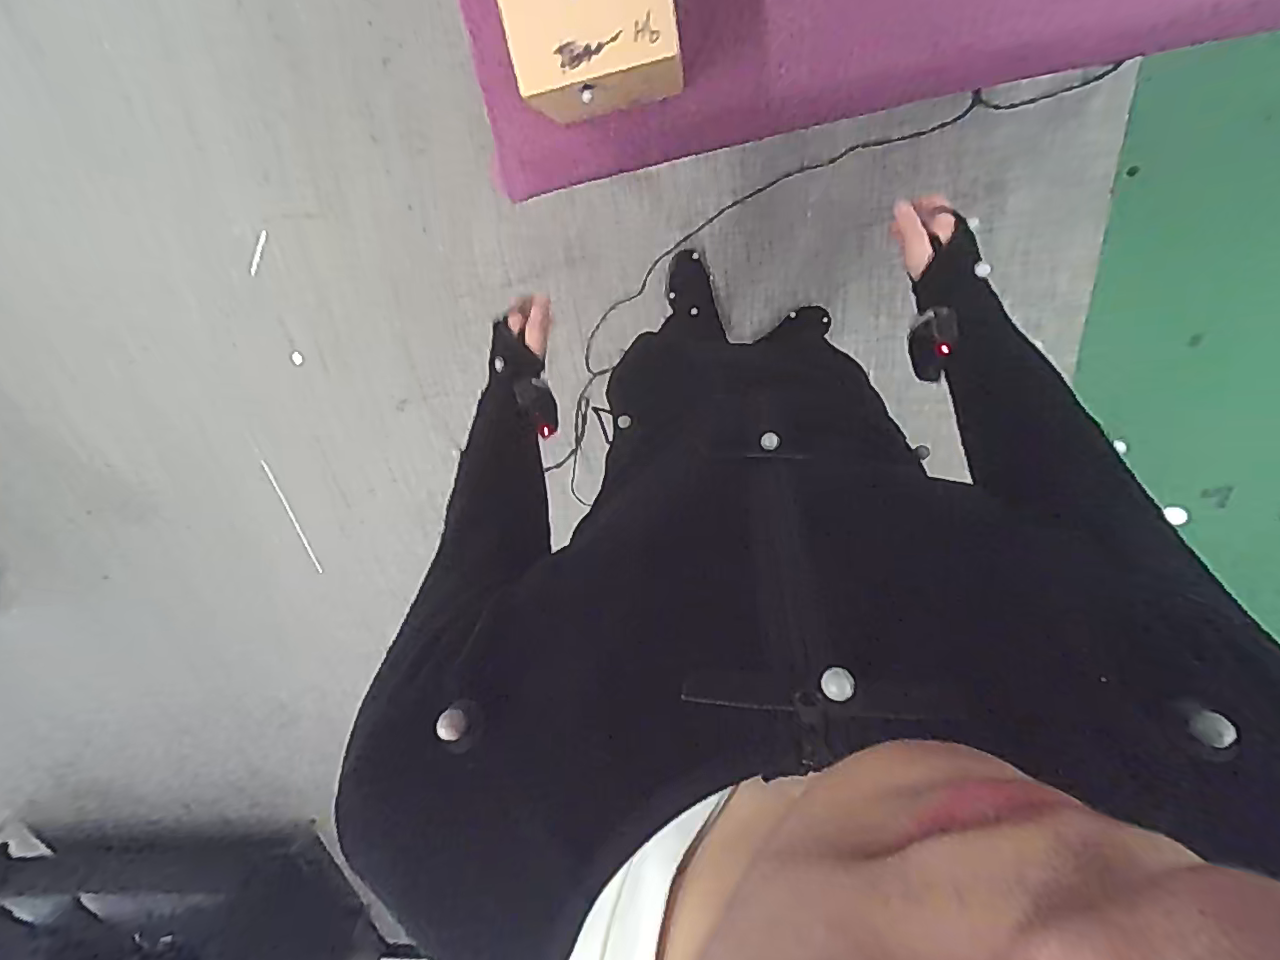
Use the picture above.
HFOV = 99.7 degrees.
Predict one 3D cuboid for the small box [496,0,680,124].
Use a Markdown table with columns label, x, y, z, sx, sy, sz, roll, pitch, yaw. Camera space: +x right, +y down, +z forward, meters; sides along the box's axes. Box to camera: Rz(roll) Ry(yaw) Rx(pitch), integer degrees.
| label | x | y | z | sx | sy | sz | roll | pitch | yaw |
| --- | --- | --- | --- | --- | --- | --- | --- | --- | --- |
| small box | -0.052 | -0.506 | 0.570 | 0.168 | 0.176 | 0.179 | -7 | 114 | 10 |

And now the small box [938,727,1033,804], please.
| label | x | y | z | sx | sy | sz | roll | pitch | yaw |
| --- | --- | --- | --- | --- | --- | --- | --- | --- | --- |
| small box | 1.032 | 0.886 | 1.631 | 0.179 | 0.176 | 0.168 | -36 | 108 | 21 |
